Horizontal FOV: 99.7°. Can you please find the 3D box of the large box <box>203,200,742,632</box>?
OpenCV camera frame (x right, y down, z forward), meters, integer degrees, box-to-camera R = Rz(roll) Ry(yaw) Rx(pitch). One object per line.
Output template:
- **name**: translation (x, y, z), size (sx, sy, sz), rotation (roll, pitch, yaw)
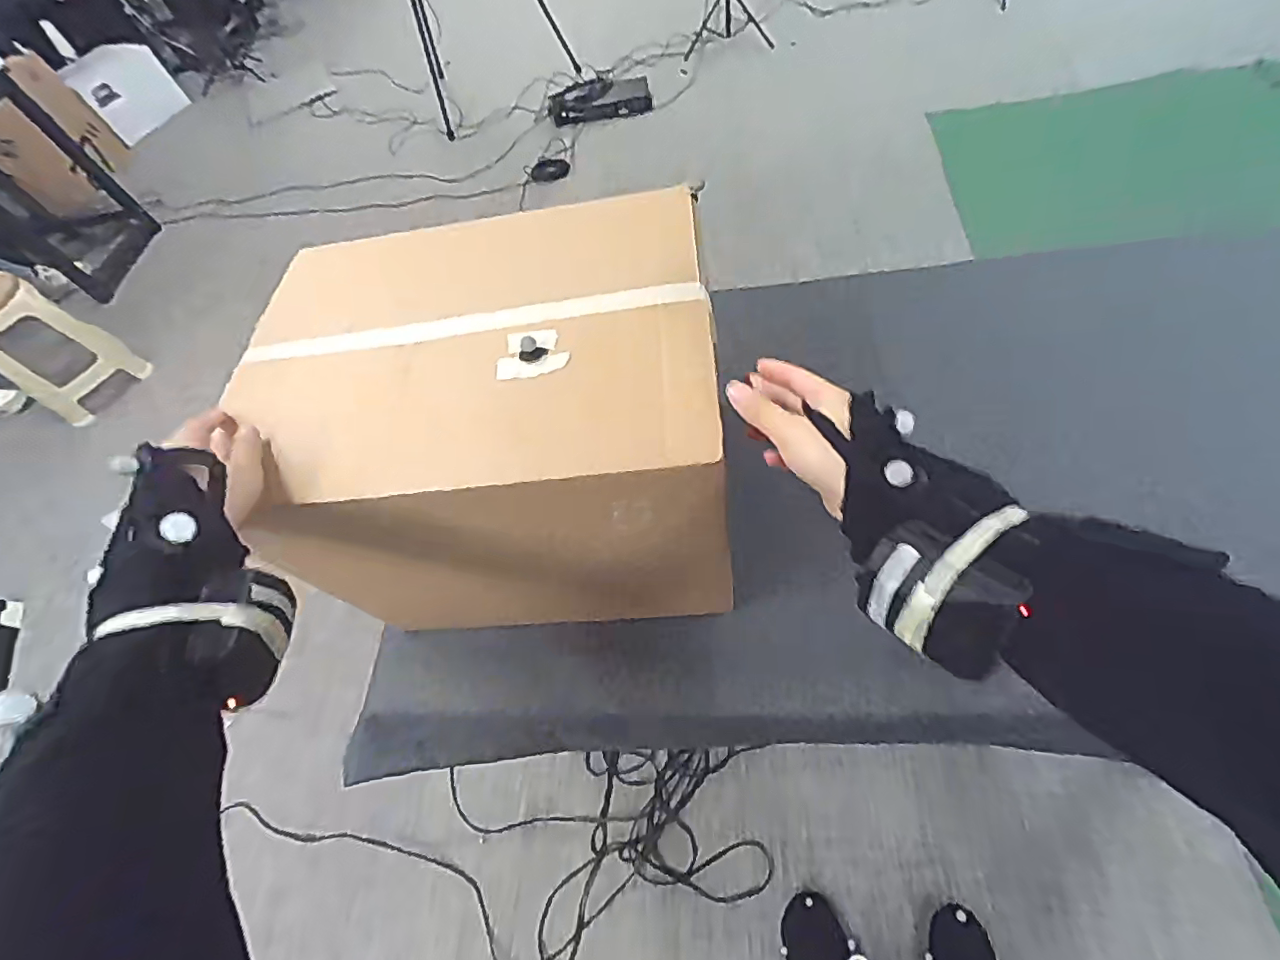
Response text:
- **large box**: translation (-0.113, -0.043, 0.582), size (0.408, 0.320, 0.320), rotation (-5, 58, 7)
